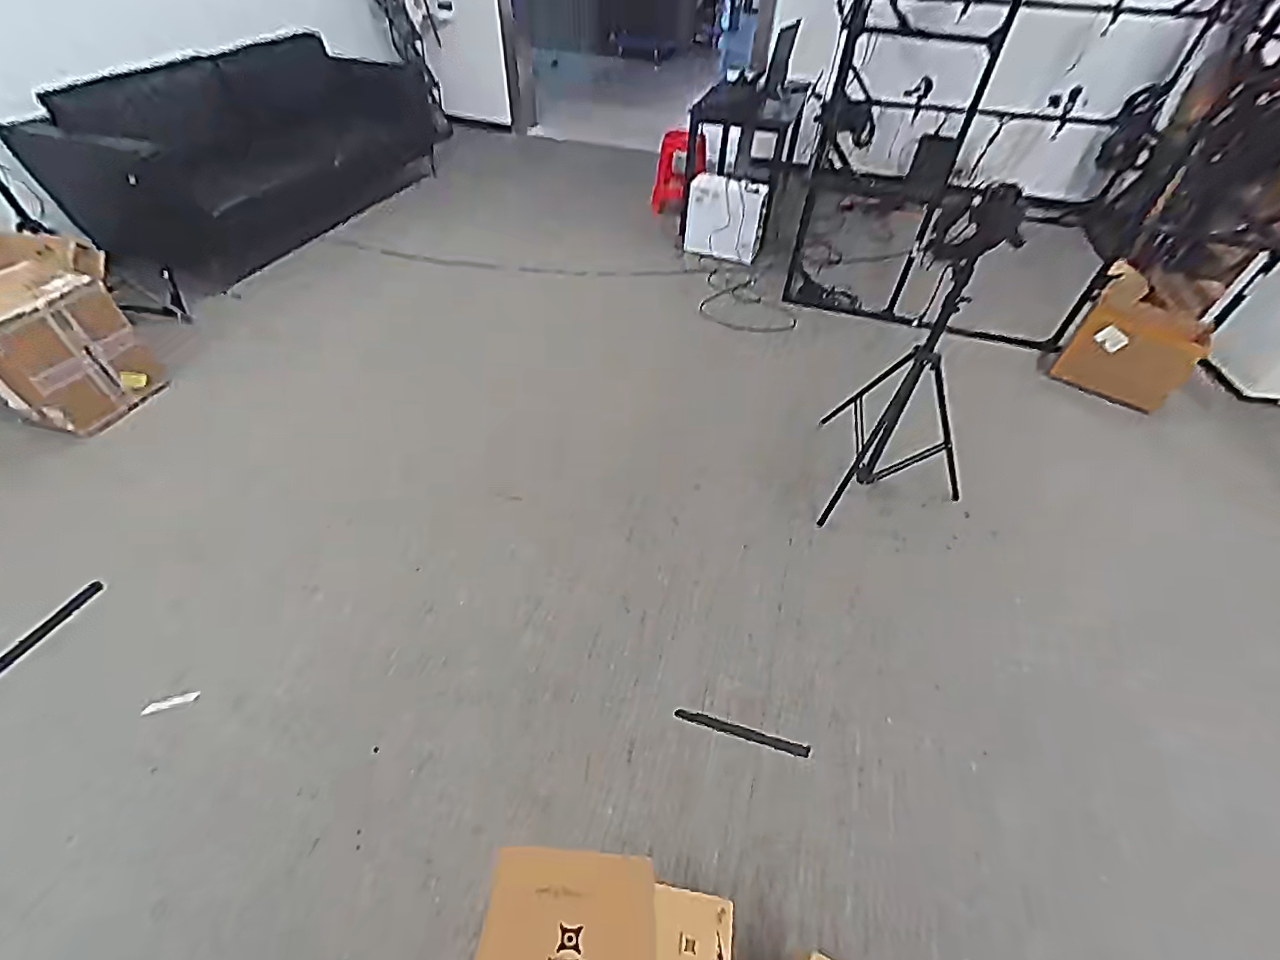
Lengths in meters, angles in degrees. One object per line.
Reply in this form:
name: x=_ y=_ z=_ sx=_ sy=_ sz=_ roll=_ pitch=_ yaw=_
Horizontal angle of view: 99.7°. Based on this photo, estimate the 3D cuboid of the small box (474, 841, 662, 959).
small box: x=-0.075 y=0.488 z=0.507 sx=0.168 sy=0.176 sz=0.179 roll=10 pitch=18 yaw=-5

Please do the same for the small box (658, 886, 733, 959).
small box: x=0.083 y=0.938 z=1.078 sx=0.179 sy=0.176 sz=0.168 roll=9 pitch=47 yaw=6

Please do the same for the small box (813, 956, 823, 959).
small box: x=0.361 y=1.033 z=1.002 sx=0.179 sy=0.176 sz=0.168 roll=23 pitch=49 yaw=19
